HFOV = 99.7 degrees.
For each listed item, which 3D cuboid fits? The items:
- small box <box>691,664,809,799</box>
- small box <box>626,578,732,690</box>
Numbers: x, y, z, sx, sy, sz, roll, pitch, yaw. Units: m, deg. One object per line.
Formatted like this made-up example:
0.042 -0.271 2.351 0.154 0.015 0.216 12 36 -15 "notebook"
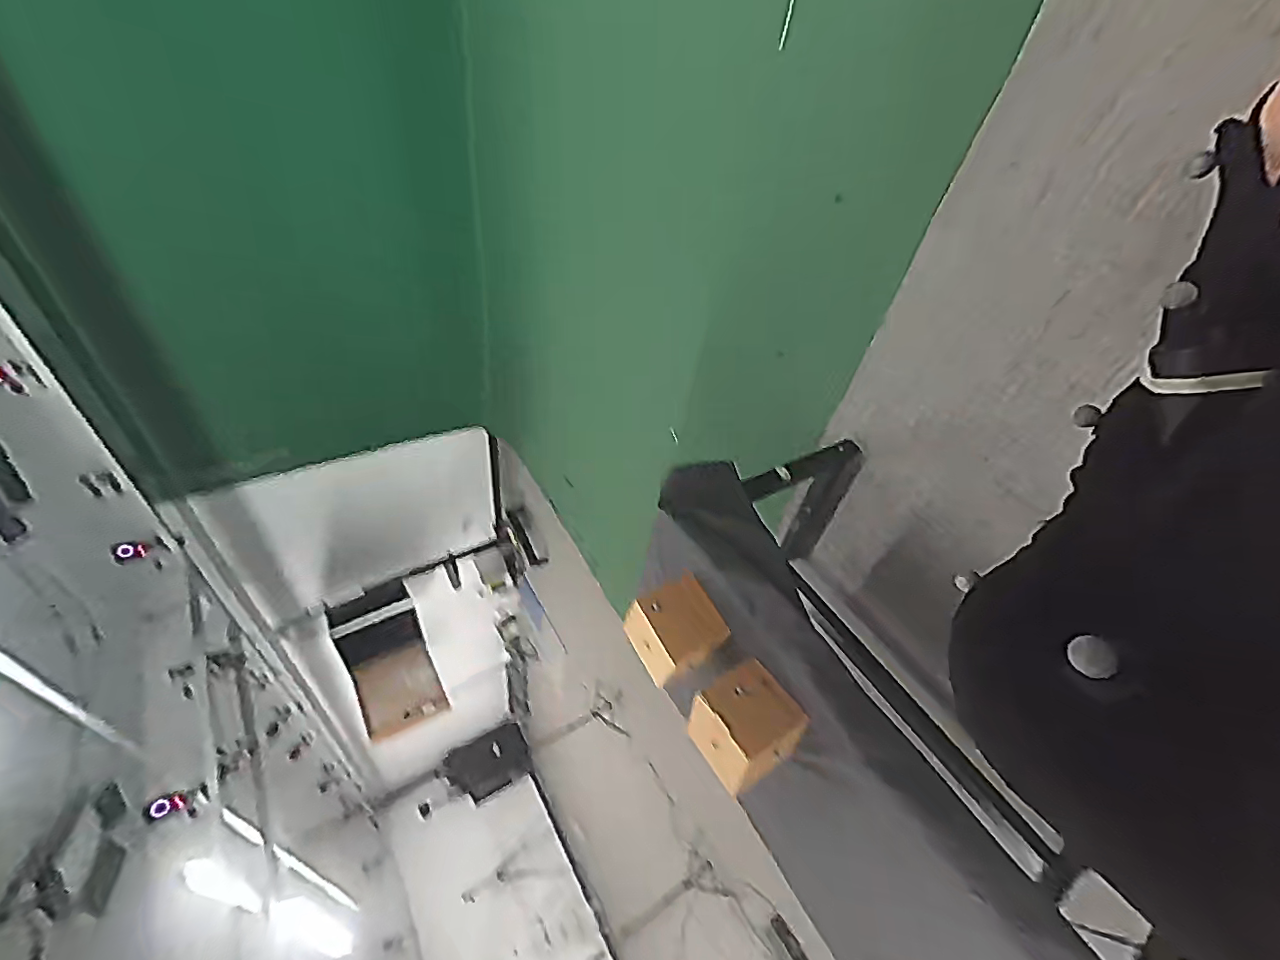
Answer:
0.232 0.528 1.152 0.168 0.176 0.179 46 145 40 "small box"
0.093 0.367 1.301 0.179 0.176 0.168 55 149 27 "small box"
